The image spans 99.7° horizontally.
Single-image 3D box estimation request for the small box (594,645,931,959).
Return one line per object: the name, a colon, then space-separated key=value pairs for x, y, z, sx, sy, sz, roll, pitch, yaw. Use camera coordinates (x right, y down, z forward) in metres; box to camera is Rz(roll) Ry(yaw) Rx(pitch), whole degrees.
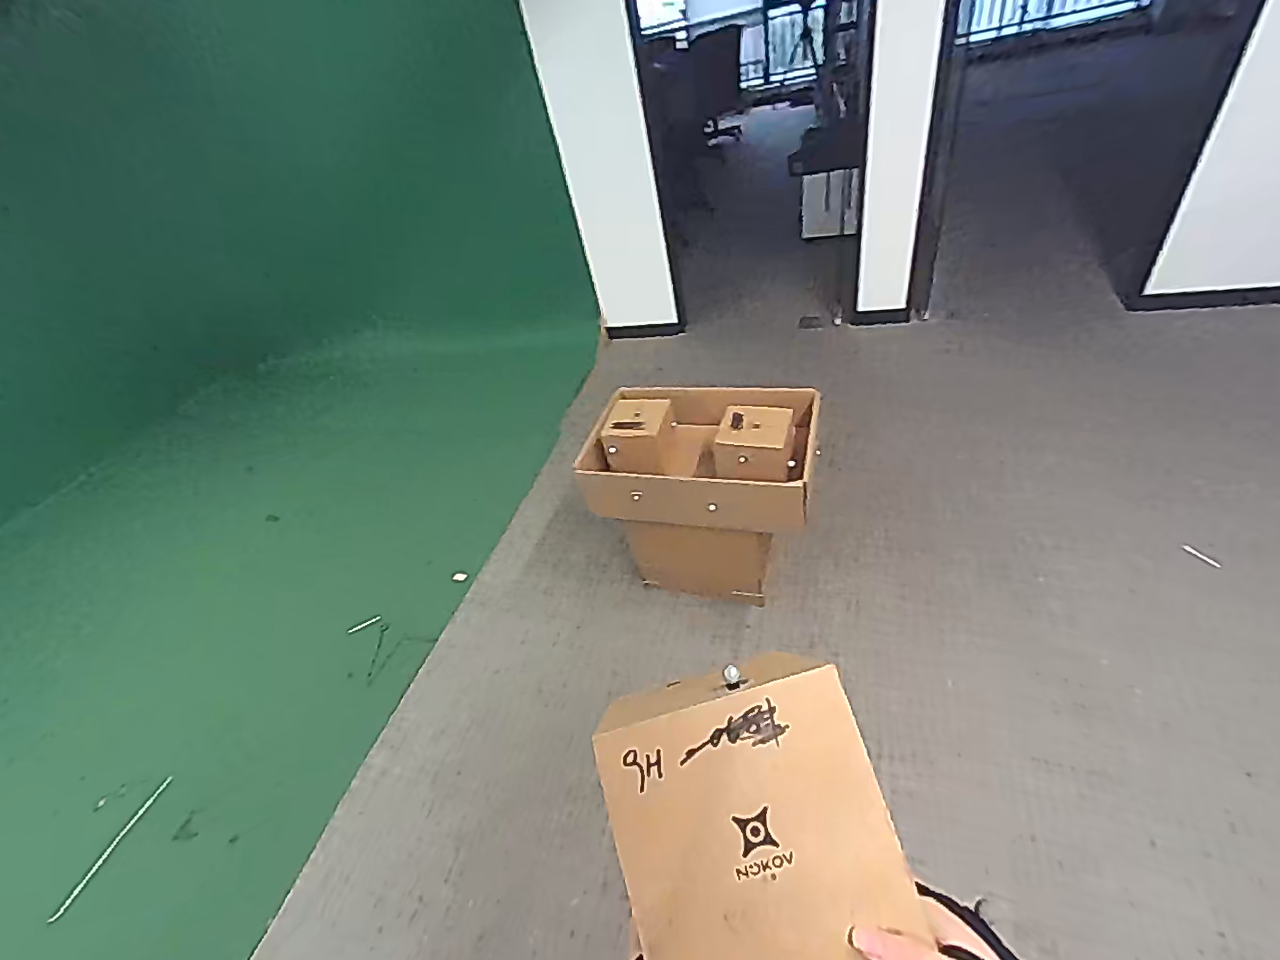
small box: x=0.073 y=0.235 z=0.407 sx=0.168 sy=0.176 sz=0.179 roll=-16 pitch=75 yaw=-2
